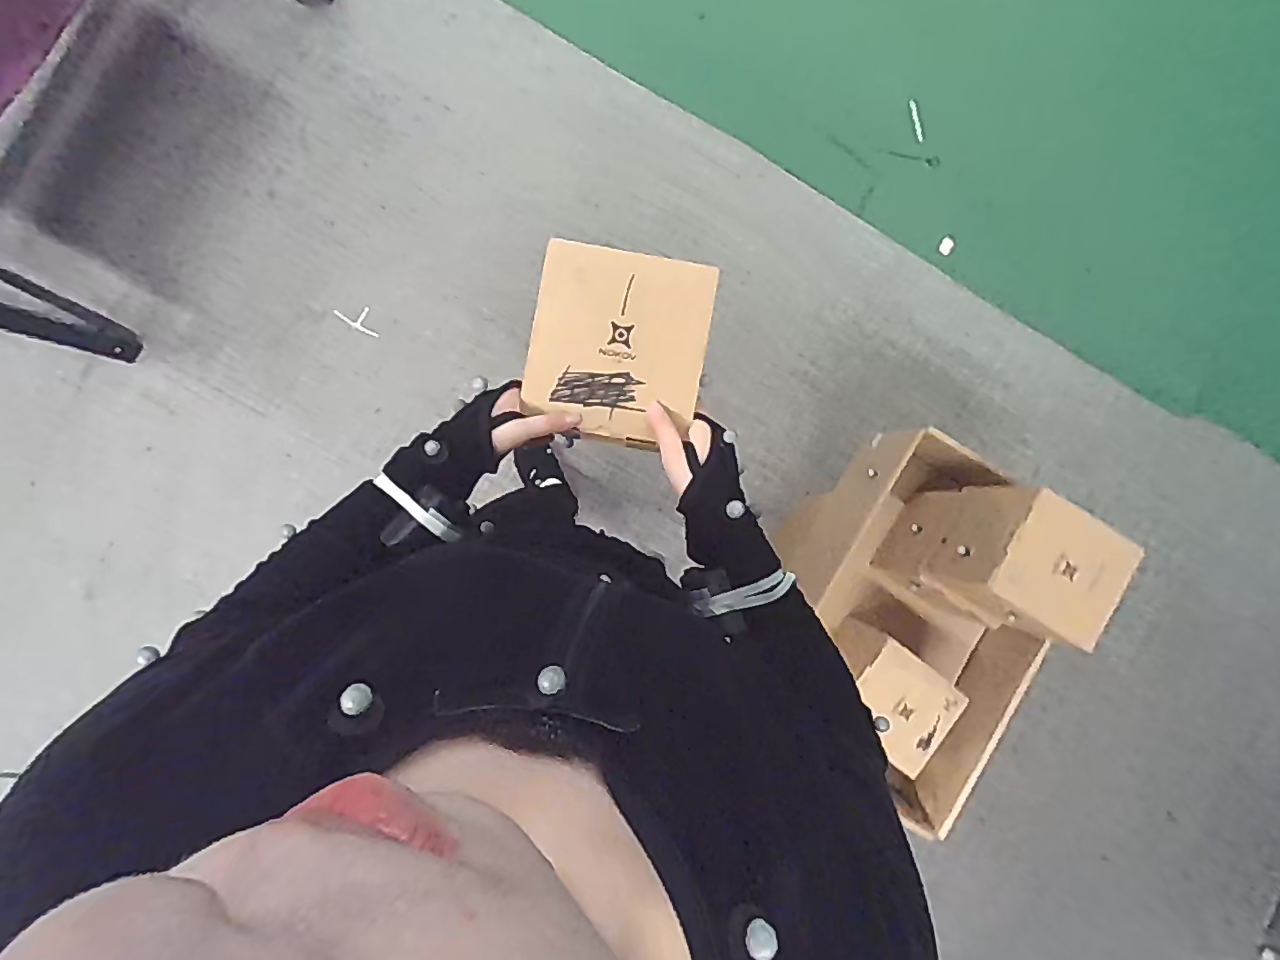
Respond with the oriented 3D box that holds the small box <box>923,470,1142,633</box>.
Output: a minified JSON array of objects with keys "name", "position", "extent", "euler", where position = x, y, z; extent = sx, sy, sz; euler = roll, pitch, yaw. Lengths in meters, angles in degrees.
[{"name":"small box","position":[0.575,0.101,0.819],"extent":[0.179,0.176,0.168],"euler":[31,88,-2]}]

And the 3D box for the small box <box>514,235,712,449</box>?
[{"name":"small box","position":[-0.023,-0.133,0.589],"extent":[0.168,0.176,0.179],"euler":[10,90,1]}]
